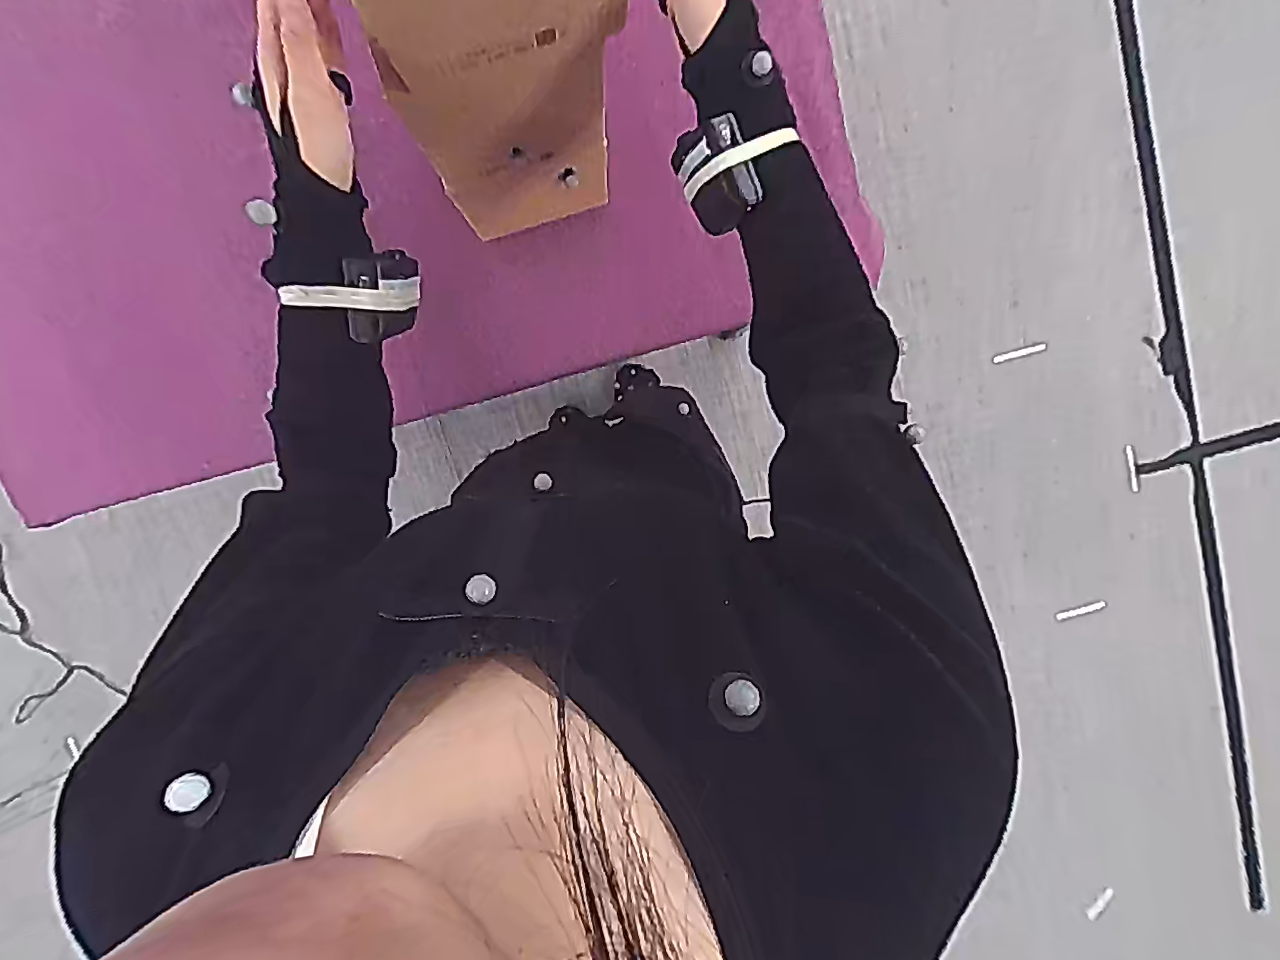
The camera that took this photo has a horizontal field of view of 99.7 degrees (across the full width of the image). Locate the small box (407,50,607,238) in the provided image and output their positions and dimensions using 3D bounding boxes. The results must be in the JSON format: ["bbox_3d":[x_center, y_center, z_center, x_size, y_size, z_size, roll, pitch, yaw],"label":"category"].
[{"bbox_3d":[-0.143,-0.407,0.625,0.179,0.176,0.168,-17,97,0],"label":"small box"}]

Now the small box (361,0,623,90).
[{"bbox_3d":[-0.108,-0.373,0.300,0.168,0.176,0.179,-17,97,-1],"label":"small box"}]
